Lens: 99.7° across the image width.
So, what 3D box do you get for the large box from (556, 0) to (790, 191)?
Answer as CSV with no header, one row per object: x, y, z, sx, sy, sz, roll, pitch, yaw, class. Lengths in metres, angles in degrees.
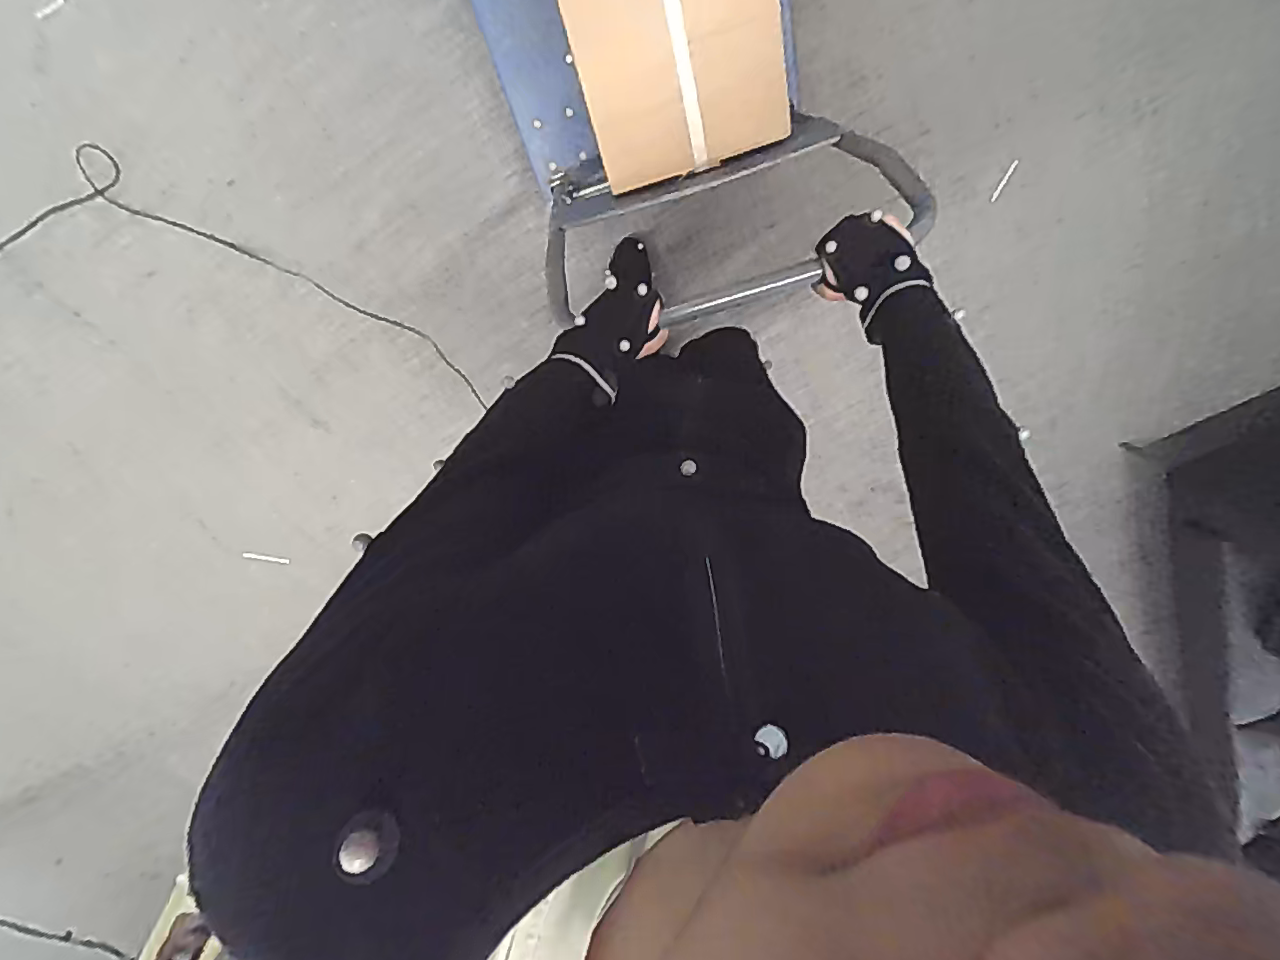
0.039,-0.771,0.918,0.320,0.320,0.408,-15,126,6,large box
